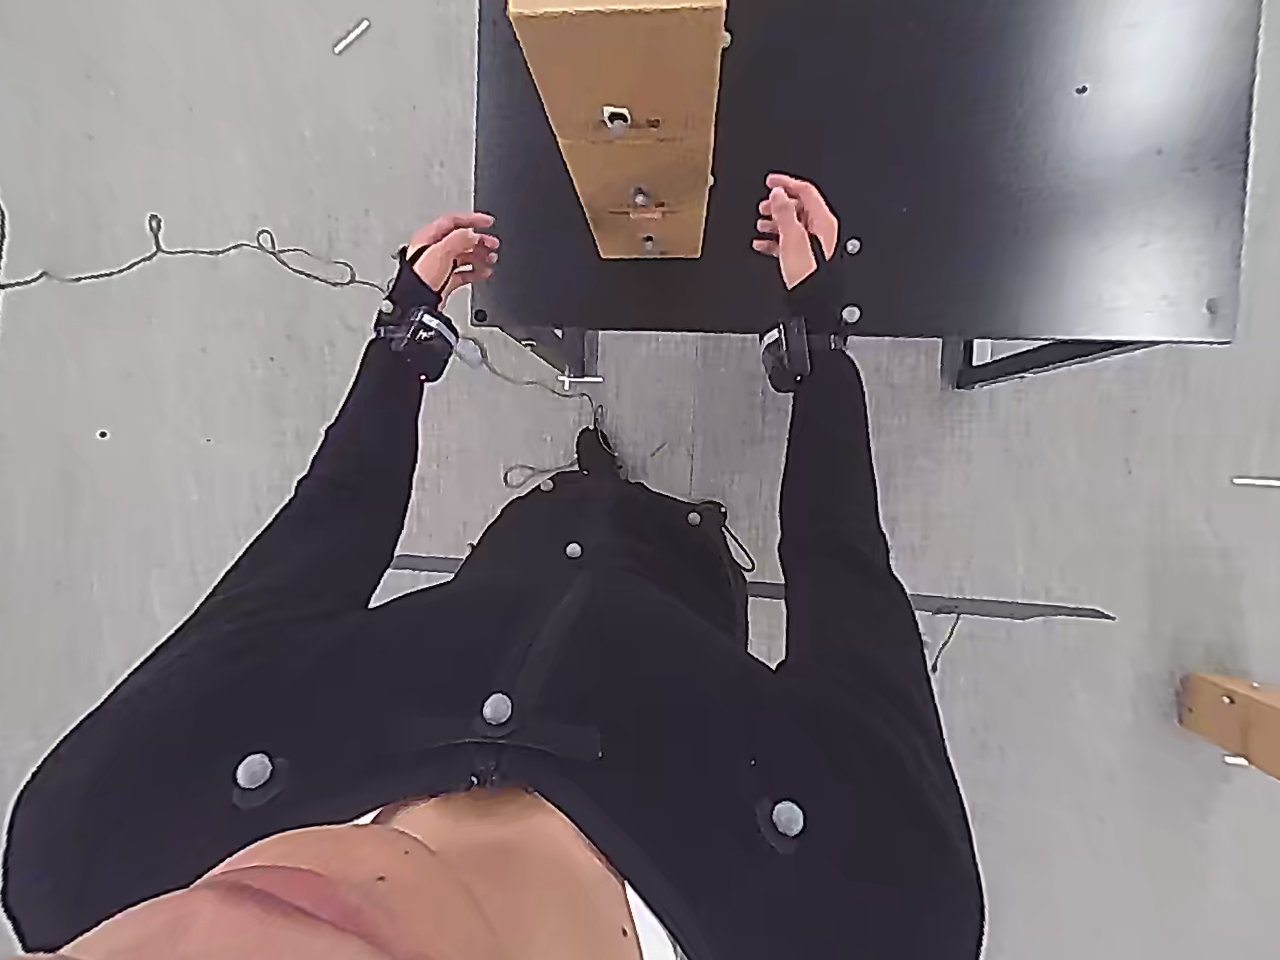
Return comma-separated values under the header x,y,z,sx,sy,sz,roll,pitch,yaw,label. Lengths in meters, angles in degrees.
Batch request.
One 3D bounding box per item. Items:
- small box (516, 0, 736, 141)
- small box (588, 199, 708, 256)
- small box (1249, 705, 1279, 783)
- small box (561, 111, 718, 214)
x,y,z,sx,sy,sz,roll,pitch,yaw,label
-0.003,-0.433,0.473,0.168,0.176,0.179,1,93,5,small box
0.018,-0.444,0.800,0.168,0.176,0.179,1,93,4,small box
1.630,0.659,1.290,0.168,0.176,0.179,3,94,4,small box
0.007,-0.440,0.635,0.168,0.176,0.179,2,92,5,small box
